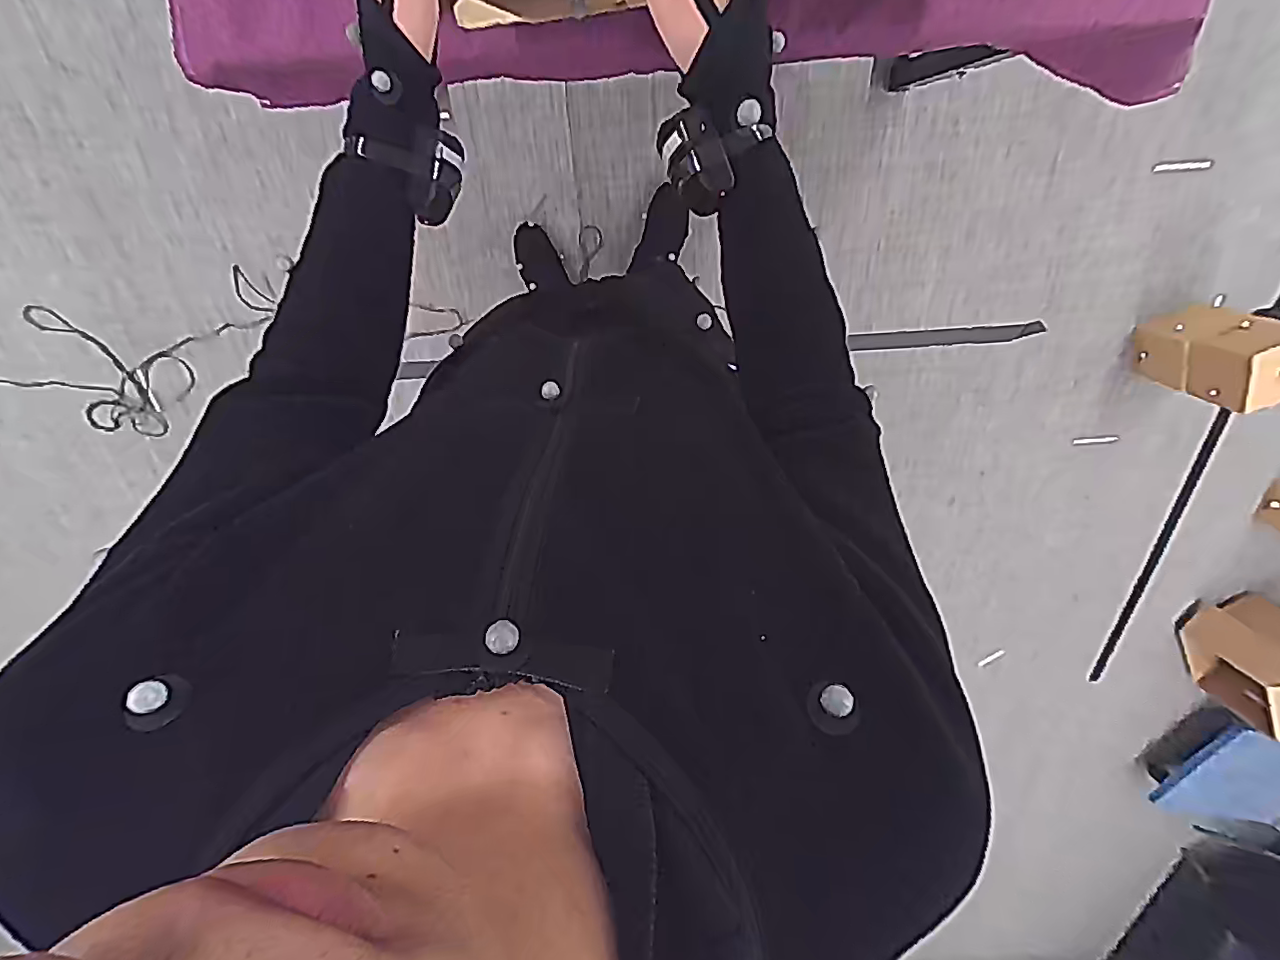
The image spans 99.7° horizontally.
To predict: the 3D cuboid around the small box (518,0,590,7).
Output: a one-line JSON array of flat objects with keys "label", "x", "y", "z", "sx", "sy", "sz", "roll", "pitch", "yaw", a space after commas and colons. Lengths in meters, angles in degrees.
[{"label": "small box", "x": -0.059, "y": -0.499, "z": 0.422, "sx": 0.168, "sy": 0.176, "sz": 0.179, "roll": 5, "pitch": 123, "yaw": 16}]
